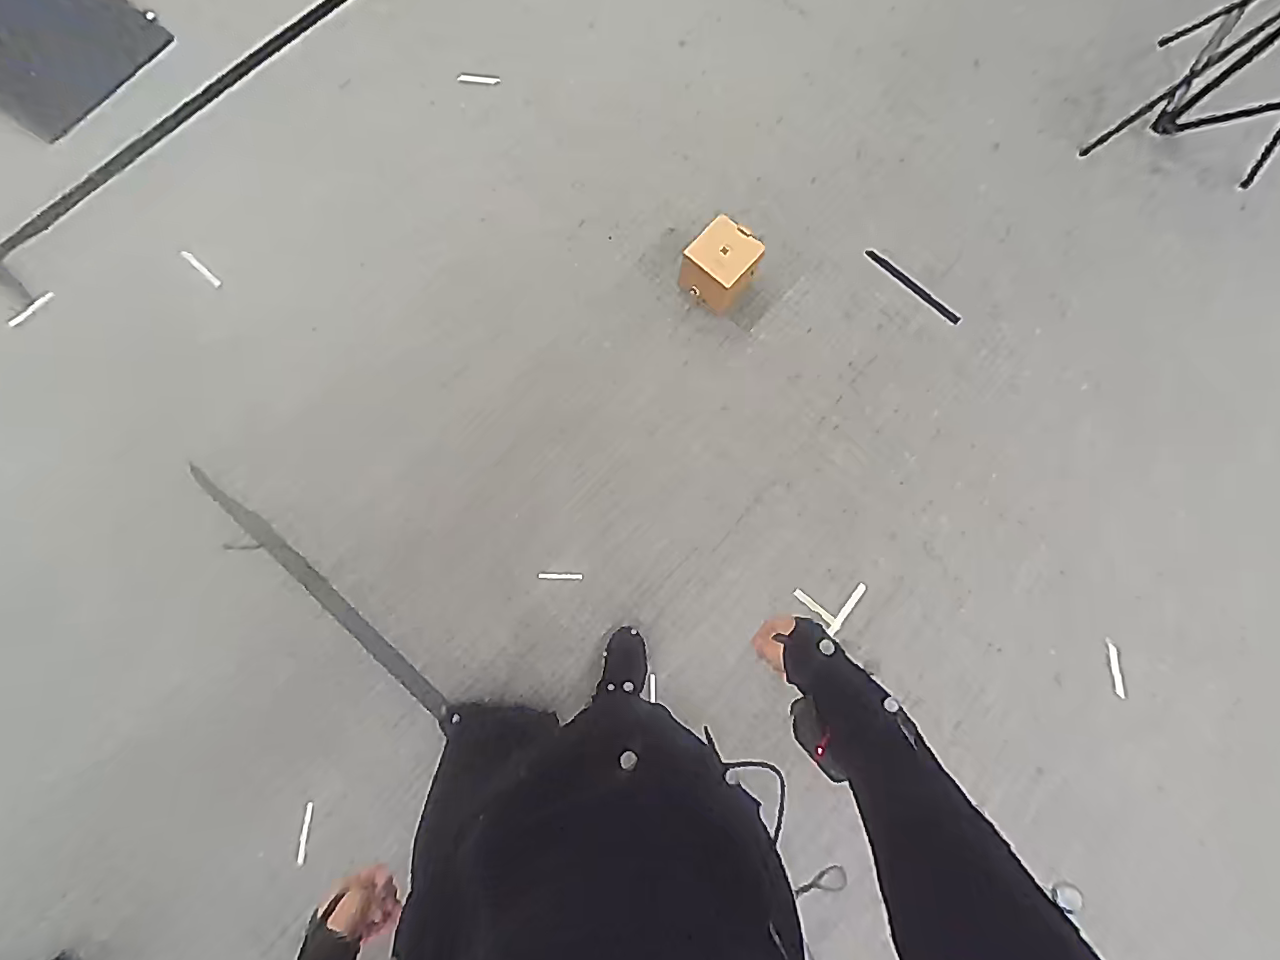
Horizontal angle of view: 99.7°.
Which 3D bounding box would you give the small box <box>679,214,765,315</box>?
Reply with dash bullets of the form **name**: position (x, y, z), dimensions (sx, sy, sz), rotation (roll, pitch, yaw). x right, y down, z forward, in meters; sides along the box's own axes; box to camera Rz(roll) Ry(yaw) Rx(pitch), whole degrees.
- **small box**: position (0.230, -0.624, 1.582), dimensions (0.168, 0.176, 0.179), rotation (41, 79, 6)
